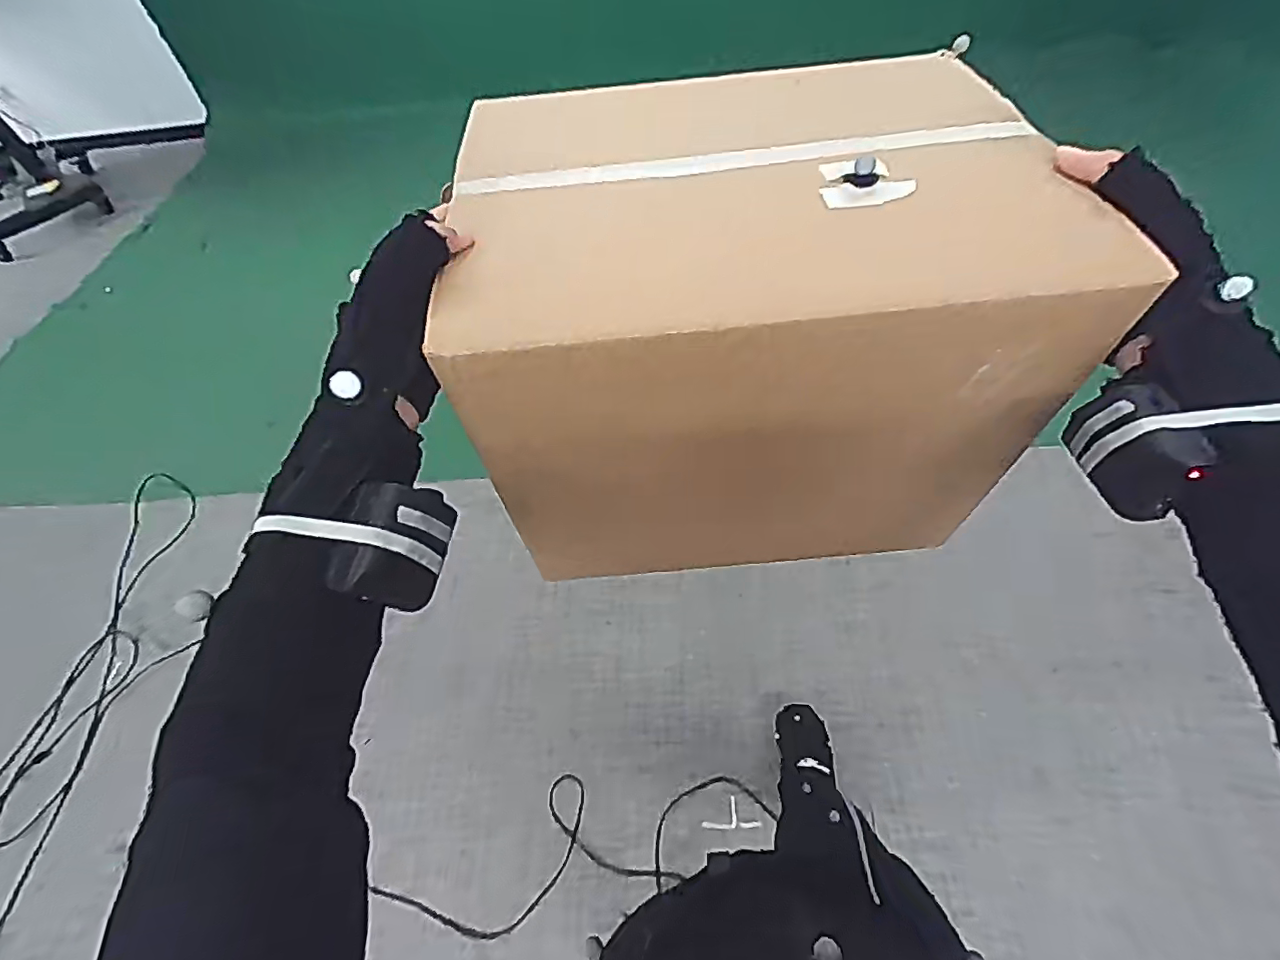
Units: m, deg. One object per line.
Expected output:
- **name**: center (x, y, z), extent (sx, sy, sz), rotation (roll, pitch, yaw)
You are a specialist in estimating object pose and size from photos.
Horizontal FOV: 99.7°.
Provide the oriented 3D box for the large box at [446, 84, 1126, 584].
- **large box**: center (0.078, -0.121, 0.513), extent (0.408, 0.320, 0.320), rotation (-6, 56, 0)
